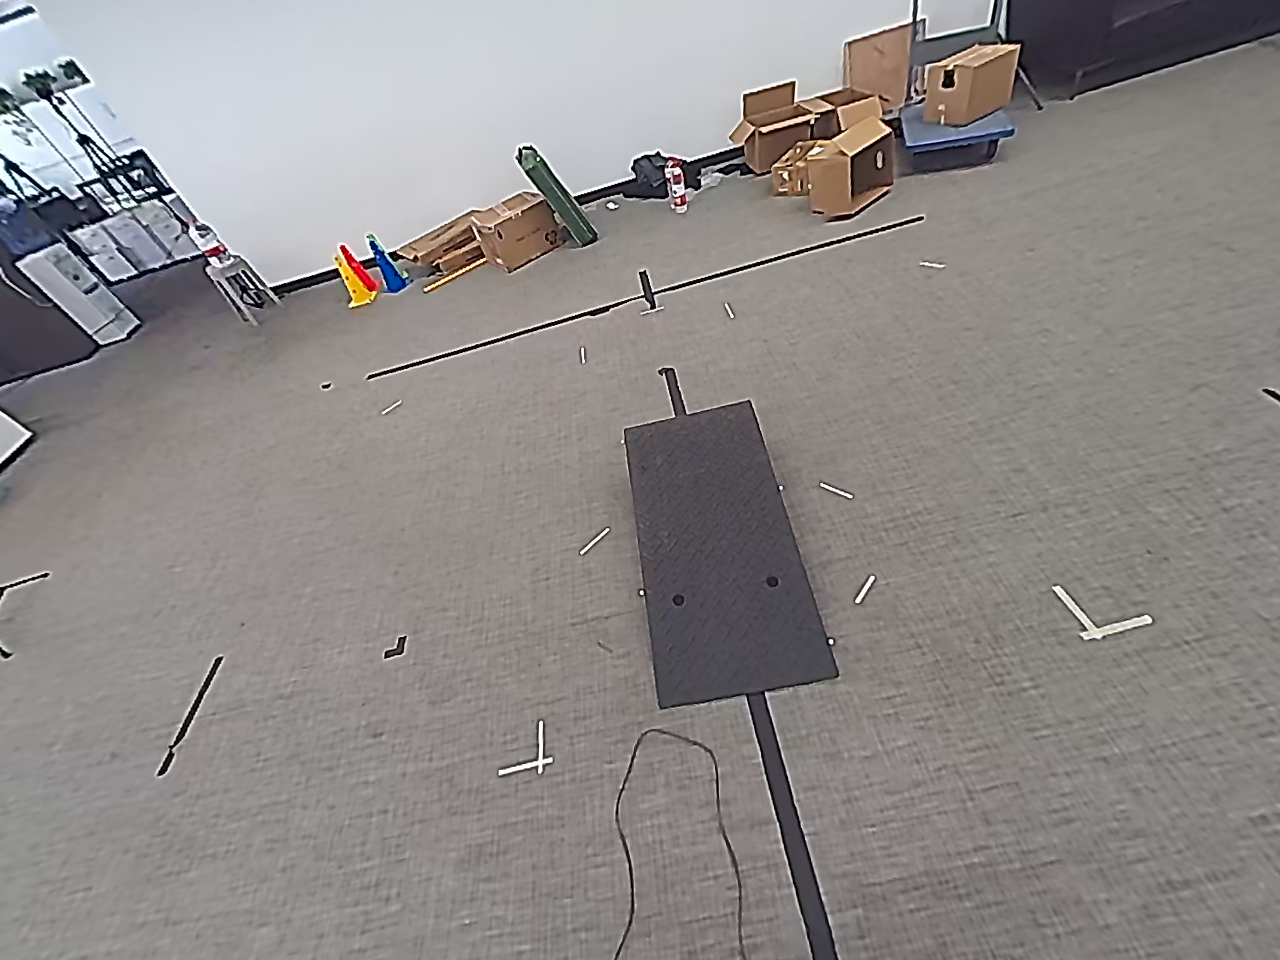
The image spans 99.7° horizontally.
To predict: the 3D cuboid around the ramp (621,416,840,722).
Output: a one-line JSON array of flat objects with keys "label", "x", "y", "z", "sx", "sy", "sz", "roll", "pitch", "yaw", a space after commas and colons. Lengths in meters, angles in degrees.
[{"label": "ramp", "x": 0.234, "y": 0.215, "z": 1.753, "sx": 0.509, "sy": 0.206, "sz": 0.991, "roll": -15, "pitch": 43, "yaw": 4}]
